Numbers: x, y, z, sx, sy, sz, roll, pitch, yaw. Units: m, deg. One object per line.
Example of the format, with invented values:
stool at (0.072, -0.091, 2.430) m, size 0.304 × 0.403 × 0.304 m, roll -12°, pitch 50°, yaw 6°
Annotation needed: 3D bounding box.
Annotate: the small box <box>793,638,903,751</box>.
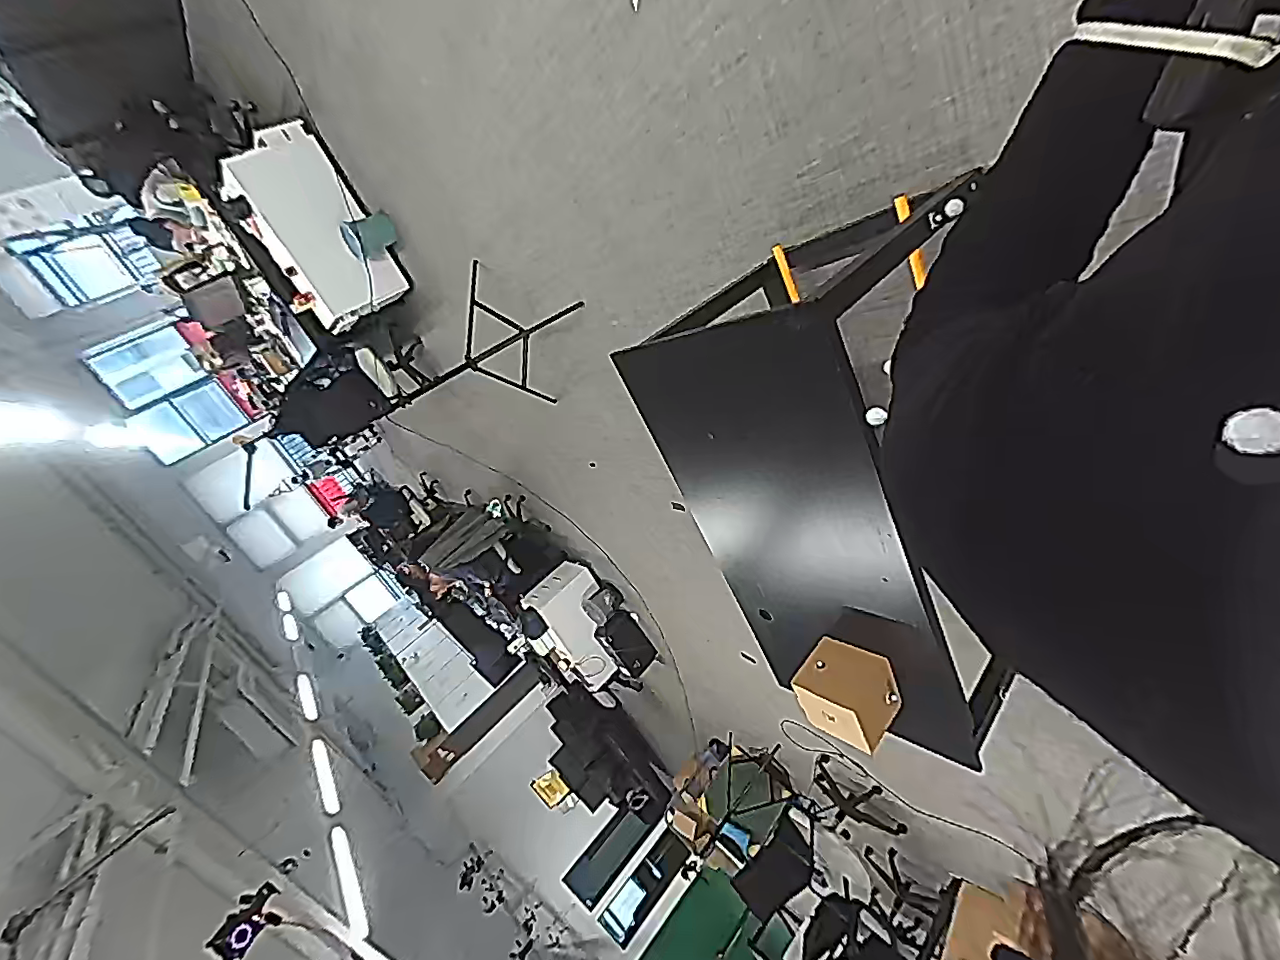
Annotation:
small box at (0.516, 0.519, 1.339) m, size 0.179 × 0.176 × 0.168 m, roll 7°, pitch 132°, yaw 52°
